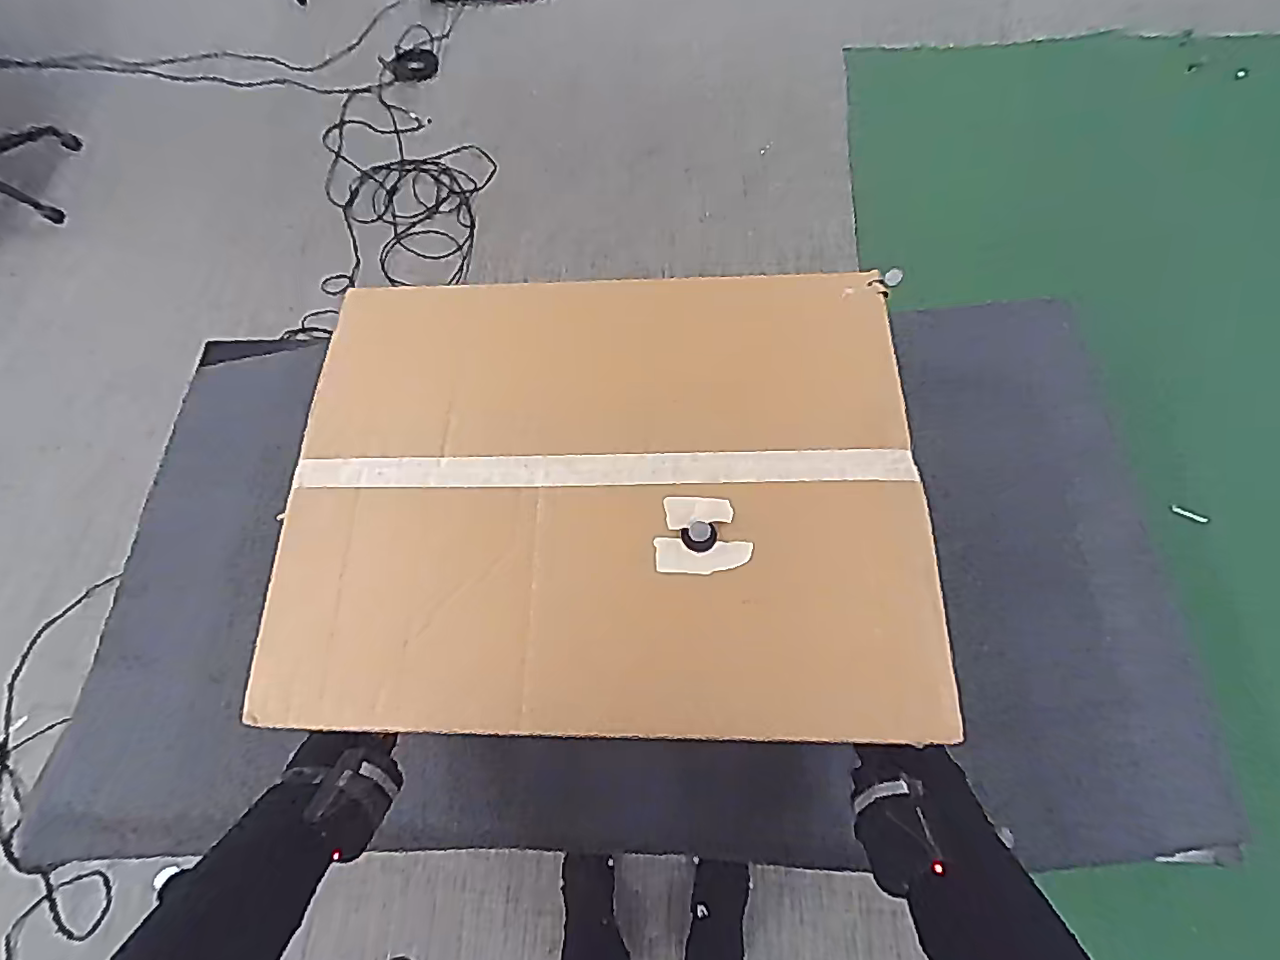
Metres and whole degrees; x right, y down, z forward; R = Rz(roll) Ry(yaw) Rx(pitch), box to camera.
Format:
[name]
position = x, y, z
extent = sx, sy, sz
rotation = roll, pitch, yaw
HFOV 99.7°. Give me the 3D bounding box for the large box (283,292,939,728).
[large box]
position = -0.016, 0.054, 0.513
extent = 0.408, 0.320, 0.320
rotation = -1, 70, 3
